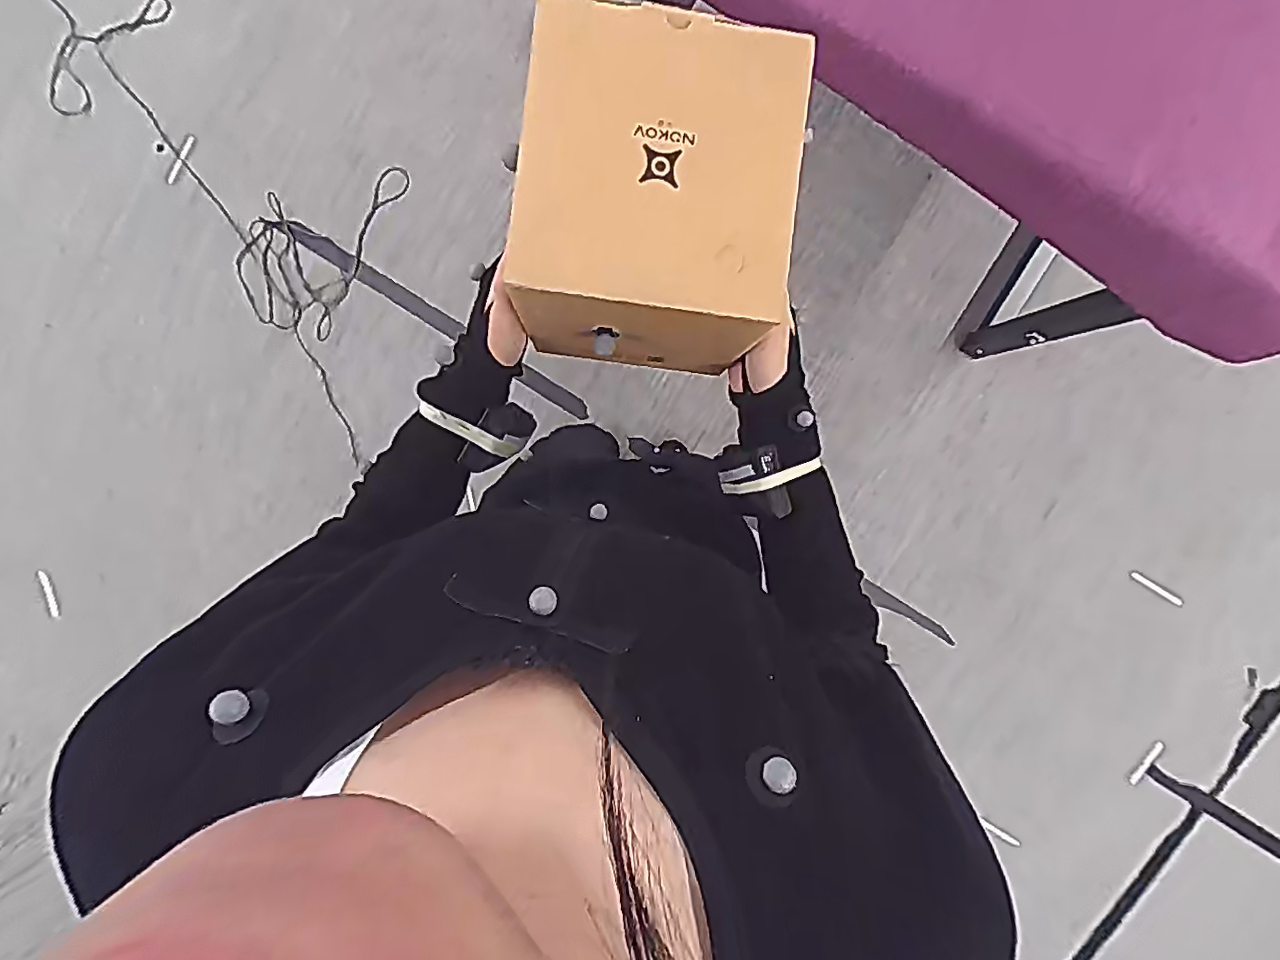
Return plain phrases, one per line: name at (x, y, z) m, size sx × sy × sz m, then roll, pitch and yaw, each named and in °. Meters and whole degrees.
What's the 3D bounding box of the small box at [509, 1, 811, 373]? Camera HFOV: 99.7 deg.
small box at (0.009, -0.186, 0.401) m, size 0.168 × 0.176 × 0.179 m, roll 6°, pitch 88°, yaw -4°
